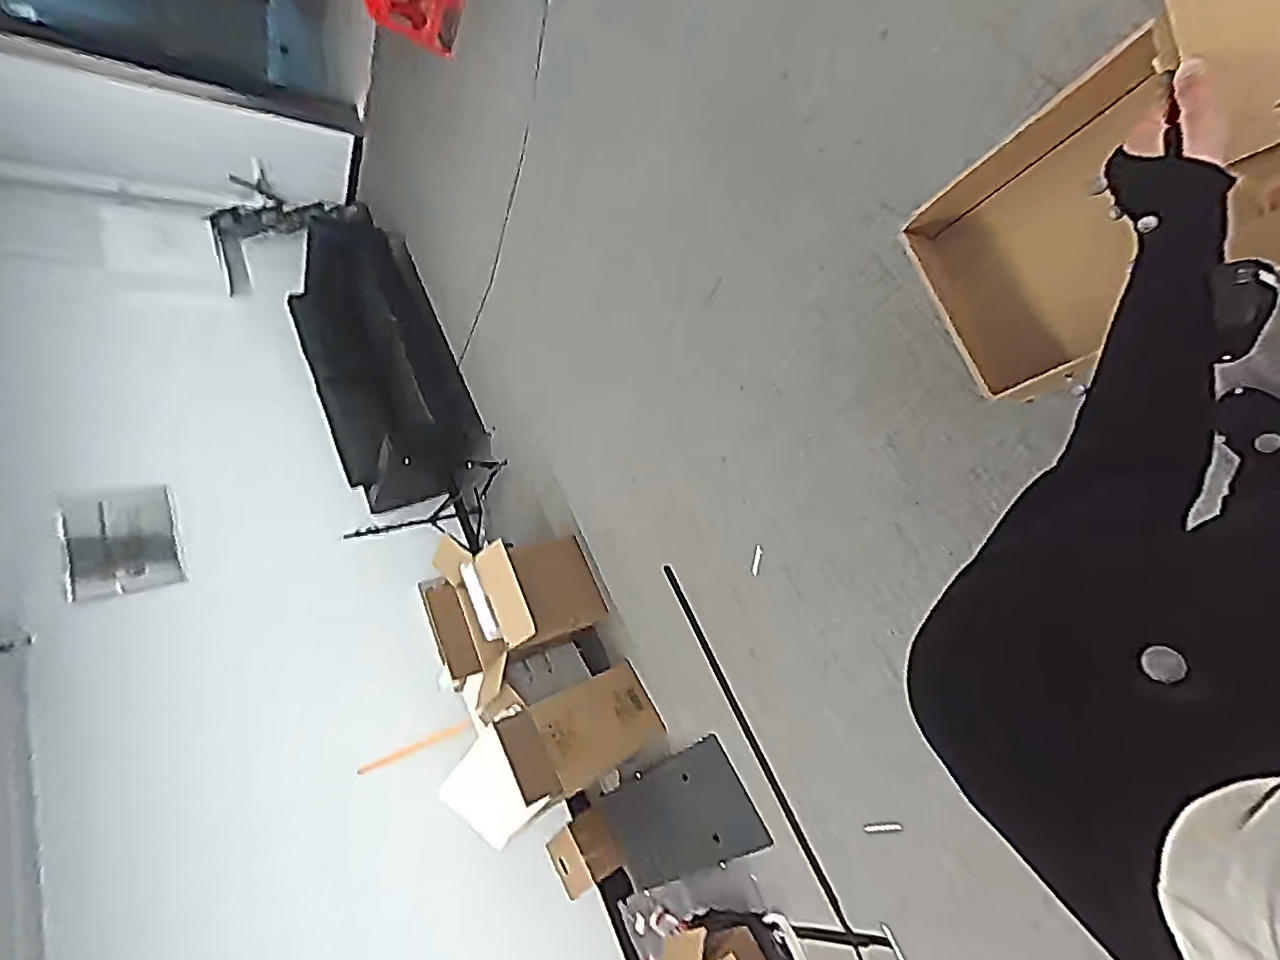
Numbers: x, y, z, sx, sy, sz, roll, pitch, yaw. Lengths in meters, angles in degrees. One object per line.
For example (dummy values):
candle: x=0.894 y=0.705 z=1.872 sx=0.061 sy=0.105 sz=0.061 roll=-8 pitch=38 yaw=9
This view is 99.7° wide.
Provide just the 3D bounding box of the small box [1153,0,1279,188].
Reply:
small box: x=0.556 y=-0.376 z=0.450 sx=0.168 sy=0.176 sz=0.179 roll=-15 pitch=95 yaw=46
